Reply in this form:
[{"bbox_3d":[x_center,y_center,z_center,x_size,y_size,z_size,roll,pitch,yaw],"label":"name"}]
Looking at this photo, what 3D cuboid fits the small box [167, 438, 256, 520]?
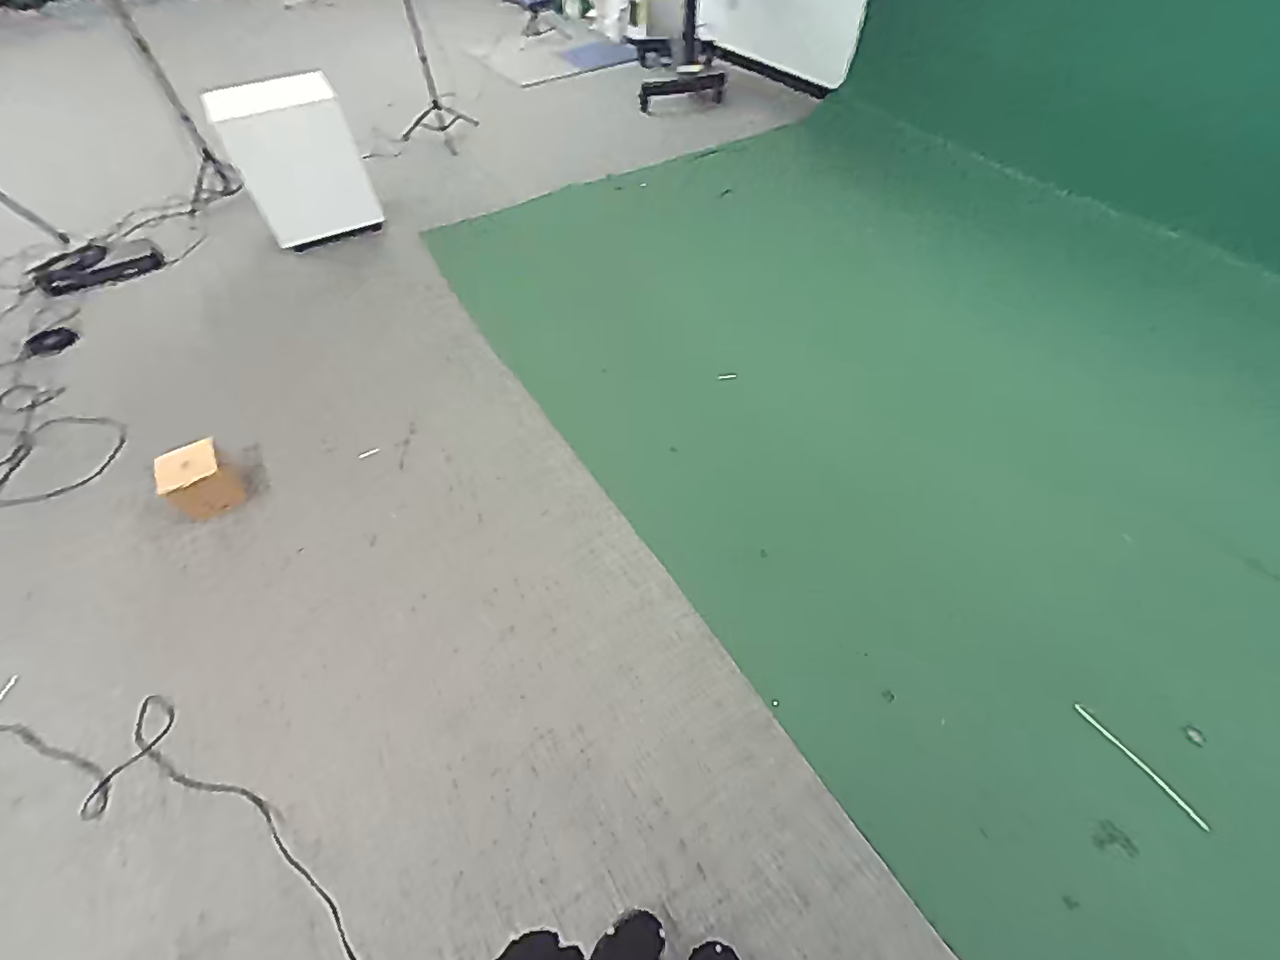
[{"bbox_3d":[-1.408,0.000,1.782,0.168,0.176,0.179,-27,56,-18],"label":"small box"}]
